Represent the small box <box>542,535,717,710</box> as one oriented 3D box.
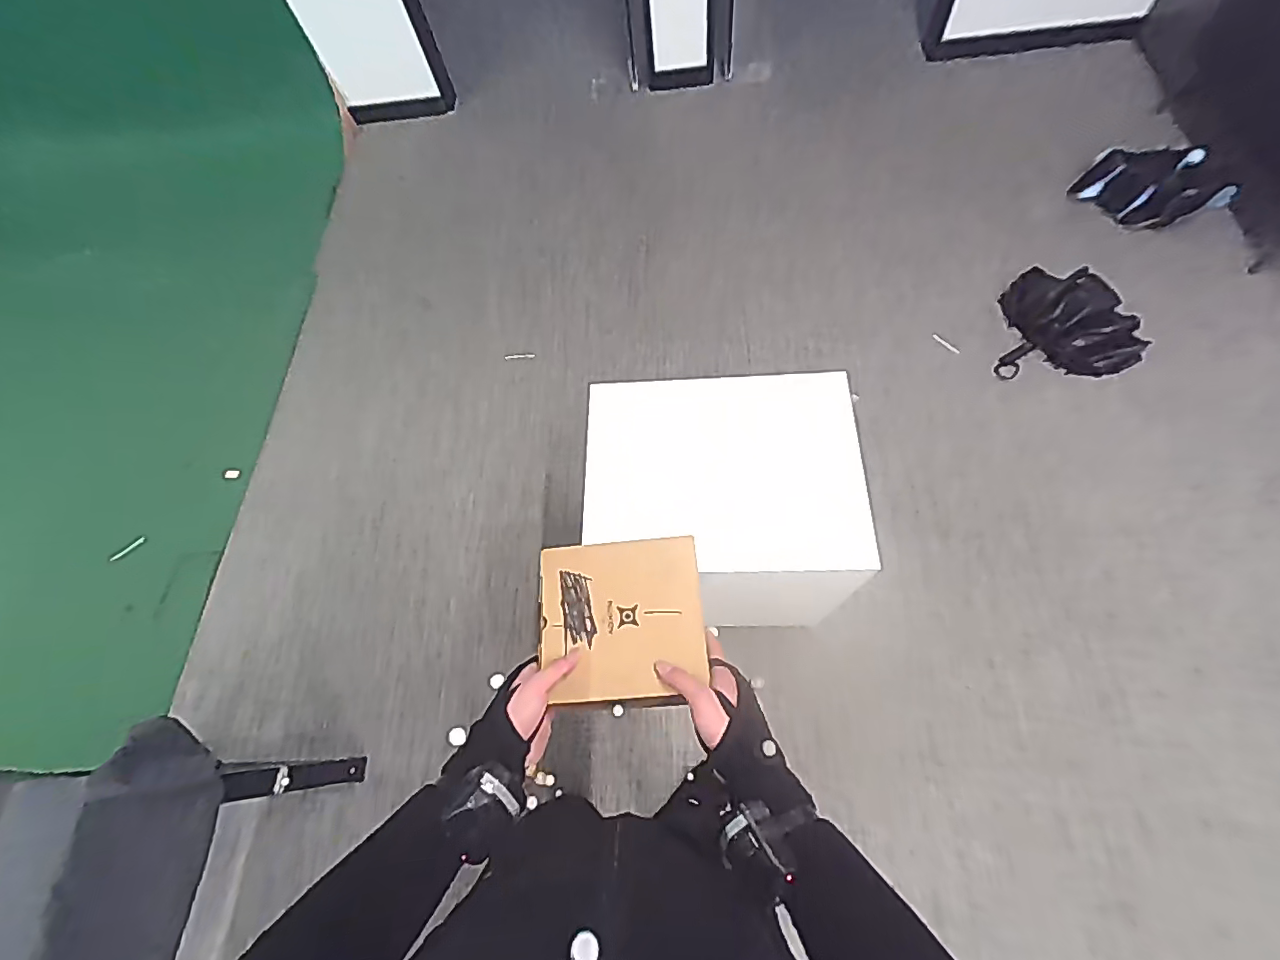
[{"bbox_3d":[-0.006,0.174,0.633,0.179,0.176,0.168,-5,65,3],"label":"small box"}]
